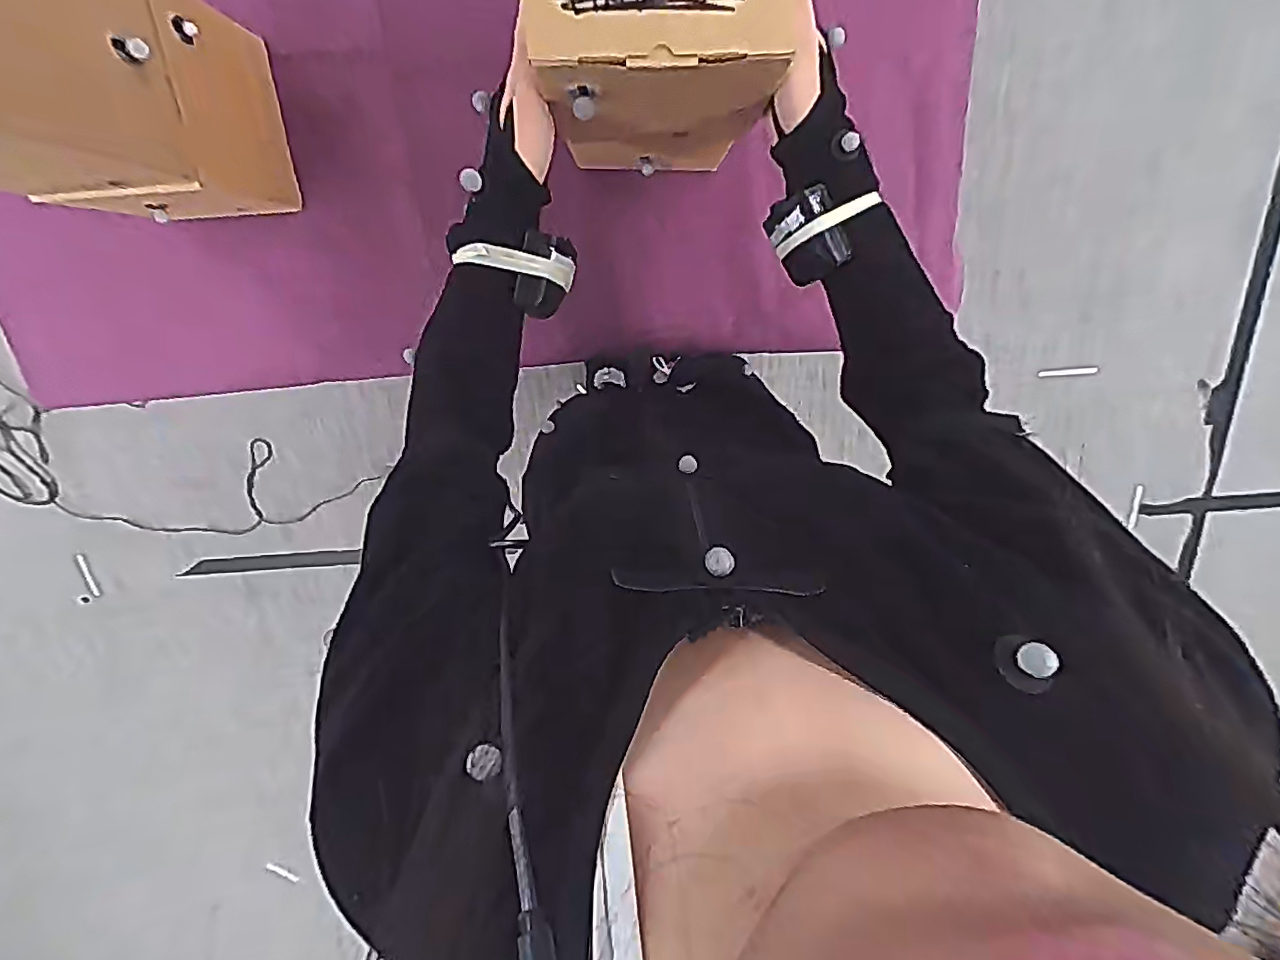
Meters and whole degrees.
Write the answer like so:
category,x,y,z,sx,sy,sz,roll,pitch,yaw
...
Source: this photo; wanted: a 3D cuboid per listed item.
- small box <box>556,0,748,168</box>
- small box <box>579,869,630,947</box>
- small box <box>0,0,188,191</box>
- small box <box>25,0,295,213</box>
category,x,y,z,sx,sy,sz,roll,pitch,yaw
small box,0.009,-0.426,0.531,0.168,0.176,0.179,1,109,0
small box,-0.128,1.579,2.006,0.168,0.176,0.179,-5,110,3
small box,-0.491,-0.327,0.391,0.168,0.176,0.179,-4,108,1
small box,-0.491,-0.376,0.547,0.168,0.176,0.179,-3,109,1
